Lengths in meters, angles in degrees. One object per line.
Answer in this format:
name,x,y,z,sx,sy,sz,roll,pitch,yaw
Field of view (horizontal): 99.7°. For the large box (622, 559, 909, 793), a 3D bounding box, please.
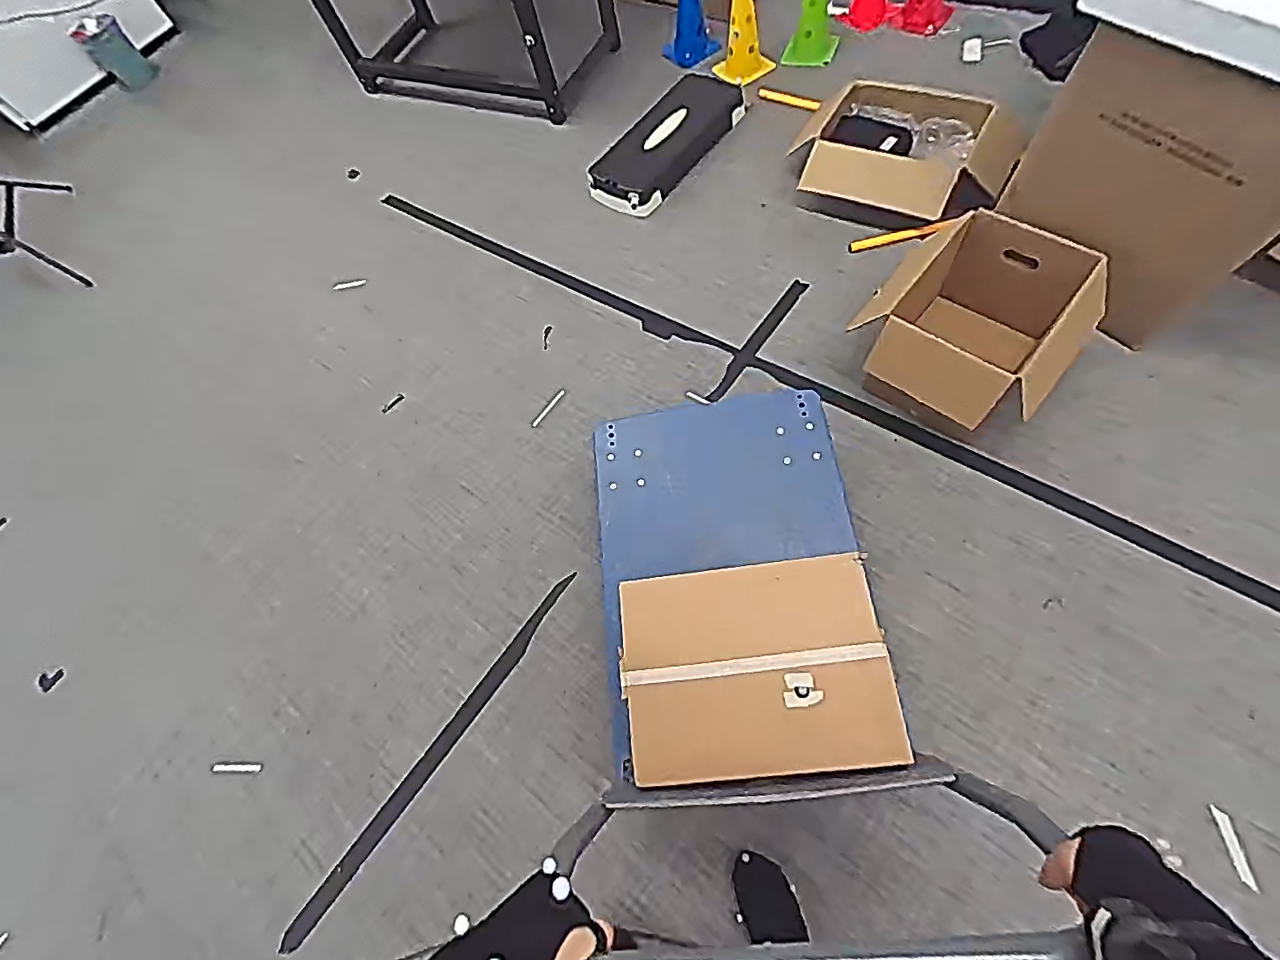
large box,0.198,0.358,0.986,0.408,0.320,0.320,-8,67,5
